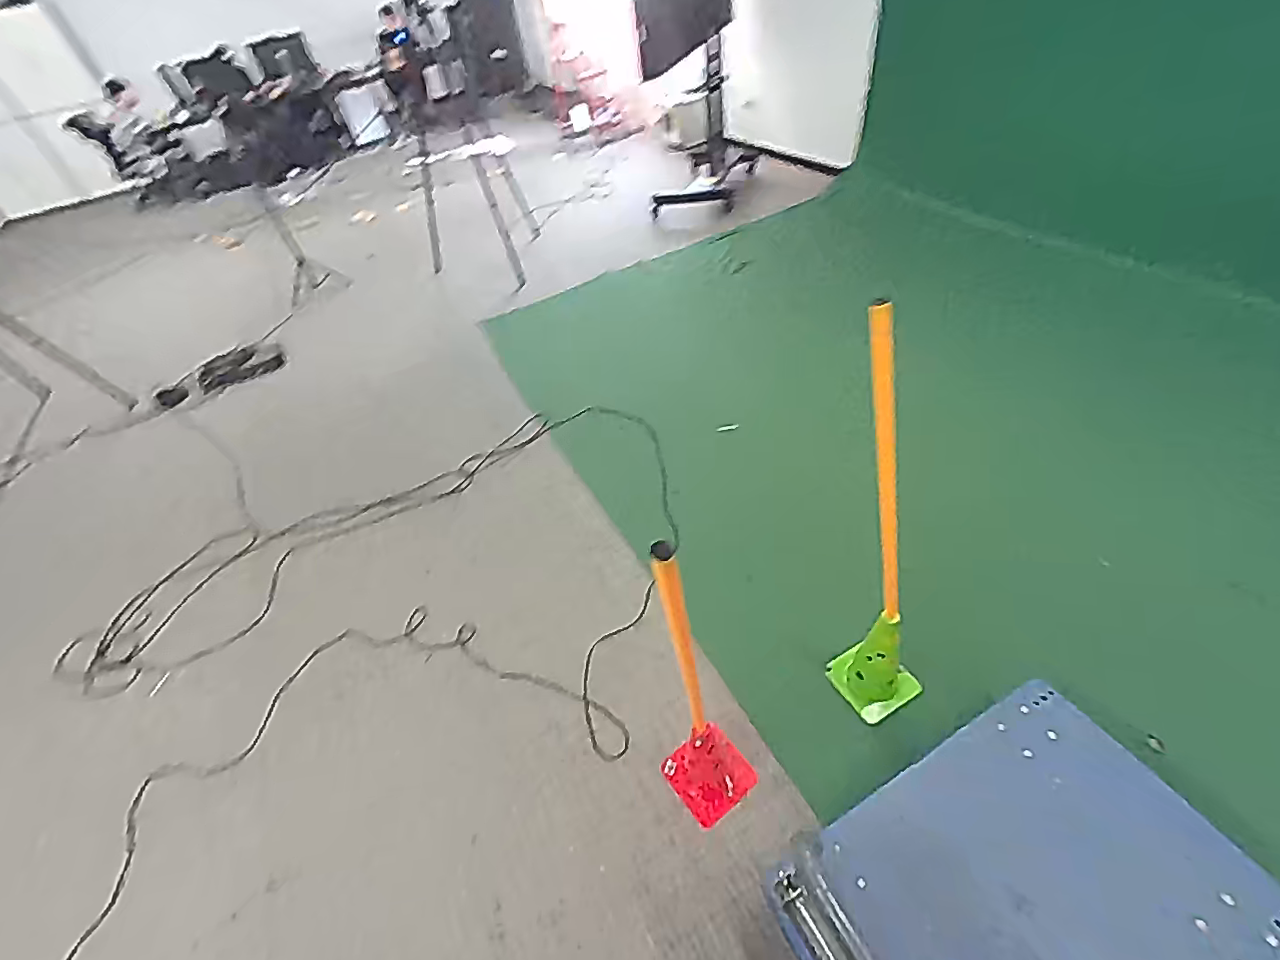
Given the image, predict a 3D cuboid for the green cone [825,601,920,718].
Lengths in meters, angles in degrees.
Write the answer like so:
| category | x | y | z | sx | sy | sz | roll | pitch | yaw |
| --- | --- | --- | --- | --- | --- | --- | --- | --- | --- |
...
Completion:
| category | x | y | z | sx | sy | sz | roll | pitch | yaw |
| --- | --- | --- | --- | --- | --- | --- | --- | --- | --- |
| green cone | 0.648 | 0.442 | 1.444 | 0.202 | 0.368 | 0.200 | -26 | 47 | -15 |
